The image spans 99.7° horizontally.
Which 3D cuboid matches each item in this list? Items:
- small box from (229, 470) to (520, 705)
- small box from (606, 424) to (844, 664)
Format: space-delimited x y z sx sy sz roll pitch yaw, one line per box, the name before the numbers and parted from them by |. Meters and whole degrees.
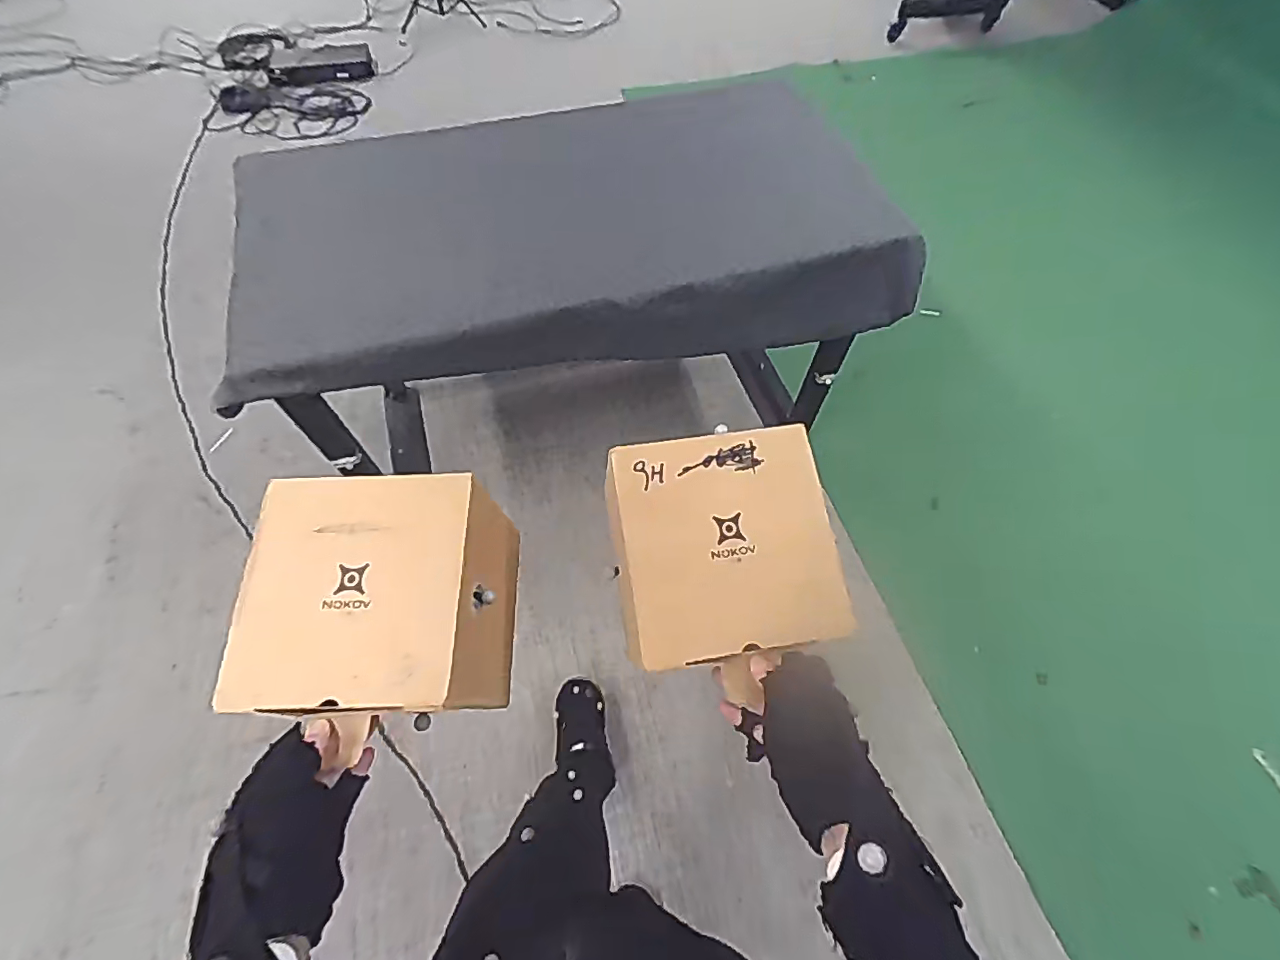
small box | -0.209 0.105 0.484 0.168 0.176 0.179 -2 67 0
small box | 0.062 0.063 0.509 0.168 0.176 0.179 -7 77 -8
